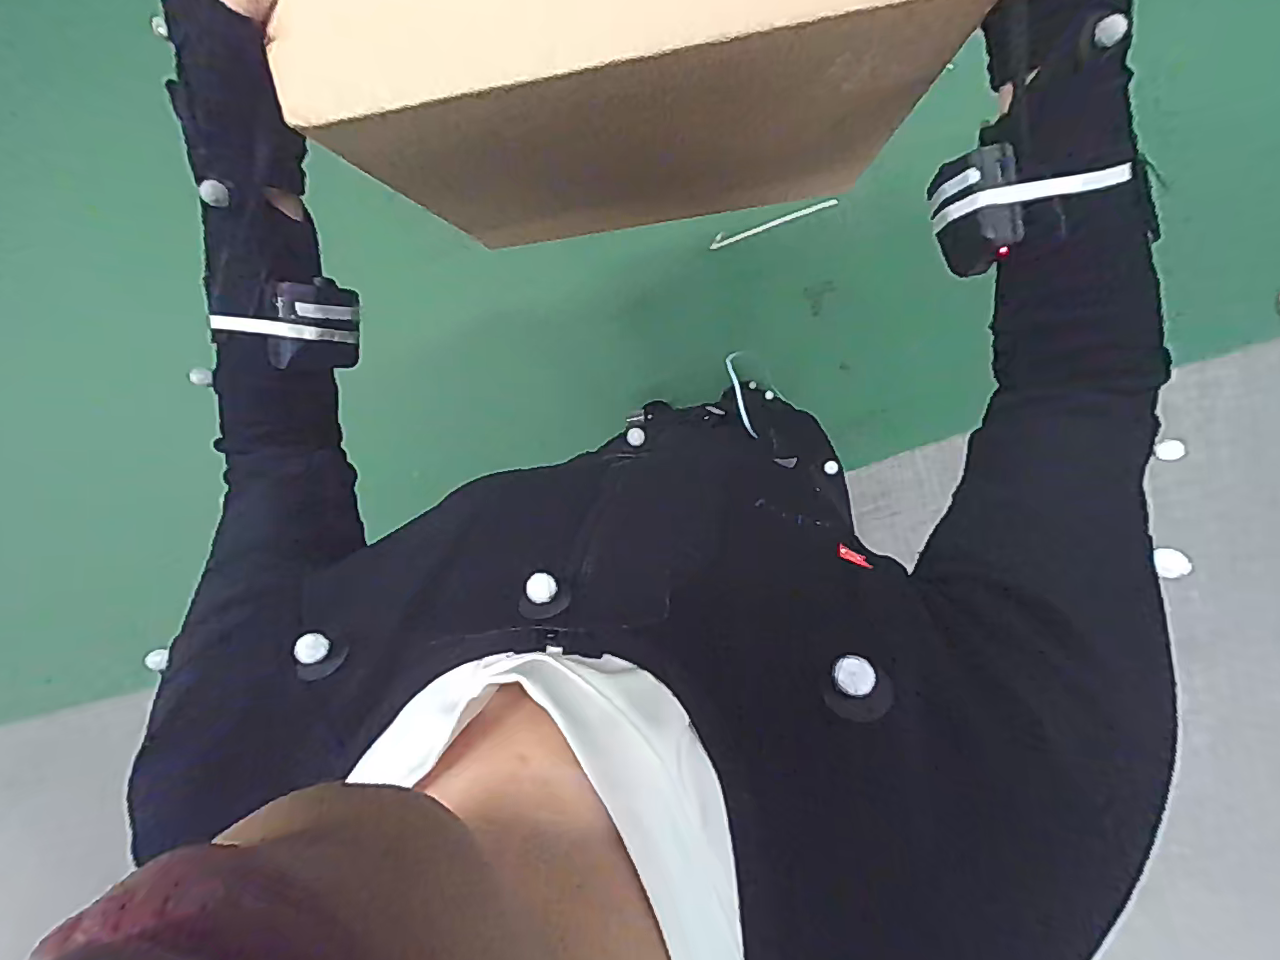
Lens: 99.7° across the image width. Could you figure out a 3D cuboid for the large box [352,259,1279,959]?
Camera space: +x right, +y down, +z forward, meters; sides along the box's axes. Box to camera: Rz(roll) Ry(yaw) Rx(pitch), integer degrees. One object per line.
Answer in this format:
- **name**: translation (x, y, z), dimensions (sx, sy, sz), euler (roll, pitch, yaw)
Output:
- **large box**: translation (0.158, 0.145, 0.288), dimensions (0.320, 0.320, 0.408), euler (12, 64, 43)
